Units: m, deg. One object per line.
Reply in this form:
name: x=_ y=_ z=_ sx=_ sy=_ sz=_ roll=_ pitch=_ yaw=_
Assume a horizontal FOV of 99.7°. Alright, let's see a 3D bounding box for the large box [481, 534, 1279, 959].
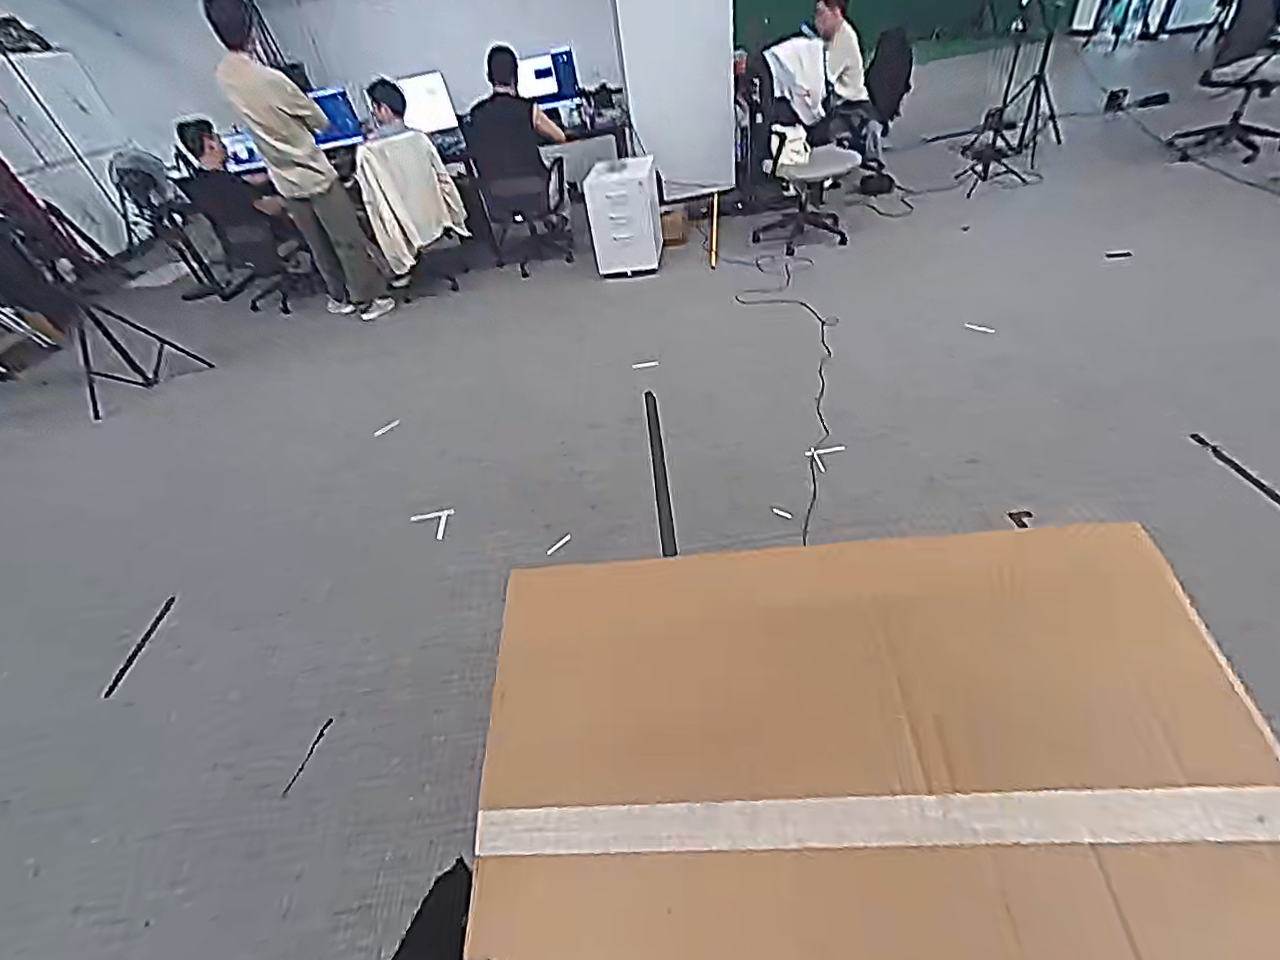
large box: x=0.135 y=0.265 z=0.404 sx=0.408 sy=0.320 sz=0.320 roll=-6 pitch=56 yaw=7
